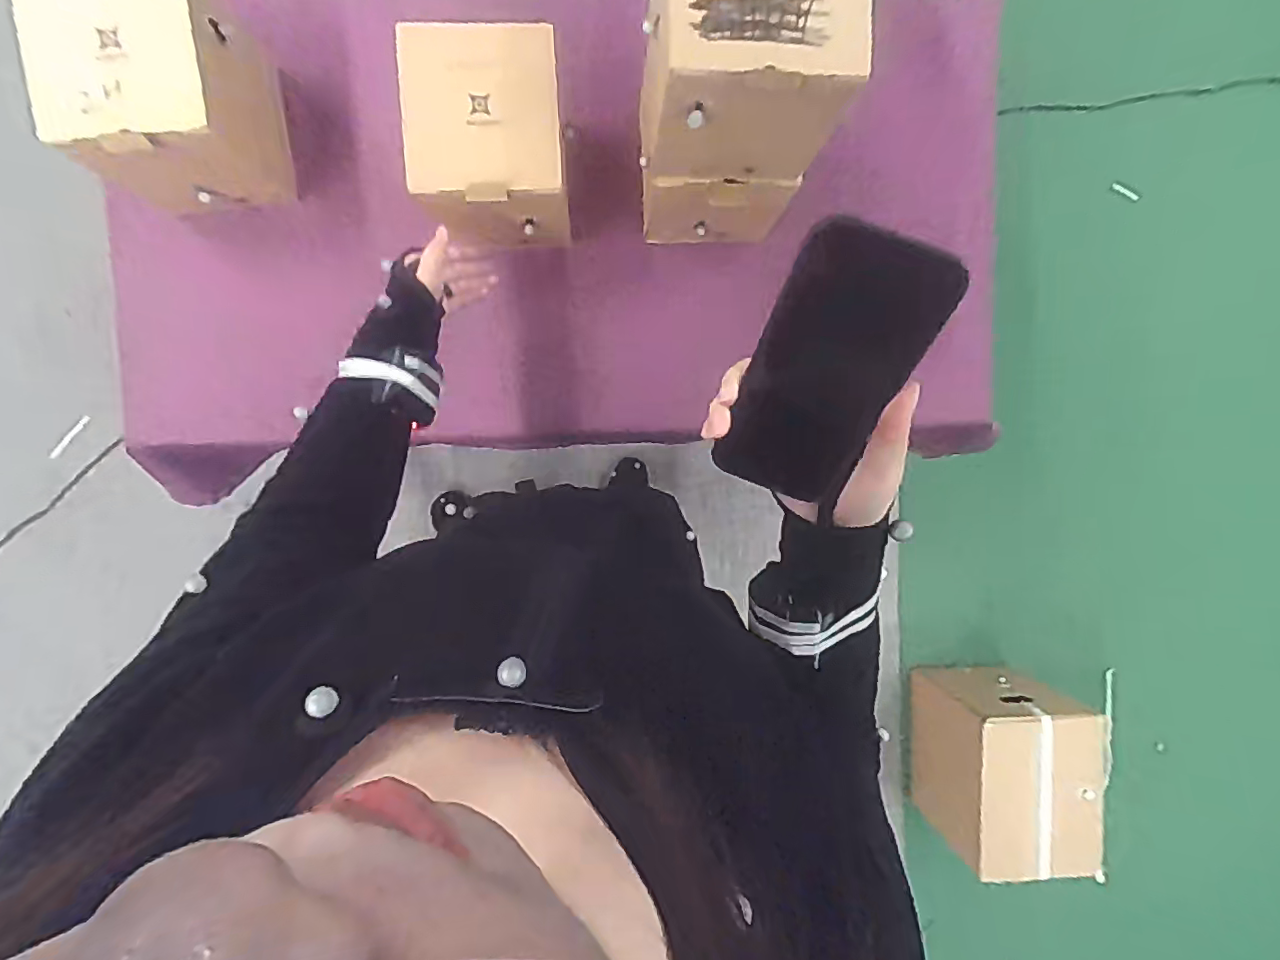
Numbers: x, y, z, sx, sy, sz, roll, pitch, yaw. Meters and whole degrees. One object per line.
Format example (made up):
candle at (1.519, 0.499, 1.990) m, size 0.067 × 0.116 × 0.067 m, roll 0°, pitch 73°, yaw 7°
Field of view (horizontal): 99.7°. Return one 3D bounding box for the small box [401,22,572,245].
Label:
small box at (-0.171, -0.399, 0.653) m, size 0.168 × 0.176 × 0.179 m, roll -2°, pitch 93°, yaw -4°

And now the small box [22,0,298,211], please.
small box at (-0.532, -0.440, 0.624) m, size 0.168 × 0.176 × 0.179 m, roll -7°, pitch 94°, yaw -3°

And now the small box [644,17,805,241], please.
small box at (0.094, -0.417, 0.669) m, size 0.168 × 0.176 × 0.179 m, roll -2°, pitch 94°, yaw -3°
